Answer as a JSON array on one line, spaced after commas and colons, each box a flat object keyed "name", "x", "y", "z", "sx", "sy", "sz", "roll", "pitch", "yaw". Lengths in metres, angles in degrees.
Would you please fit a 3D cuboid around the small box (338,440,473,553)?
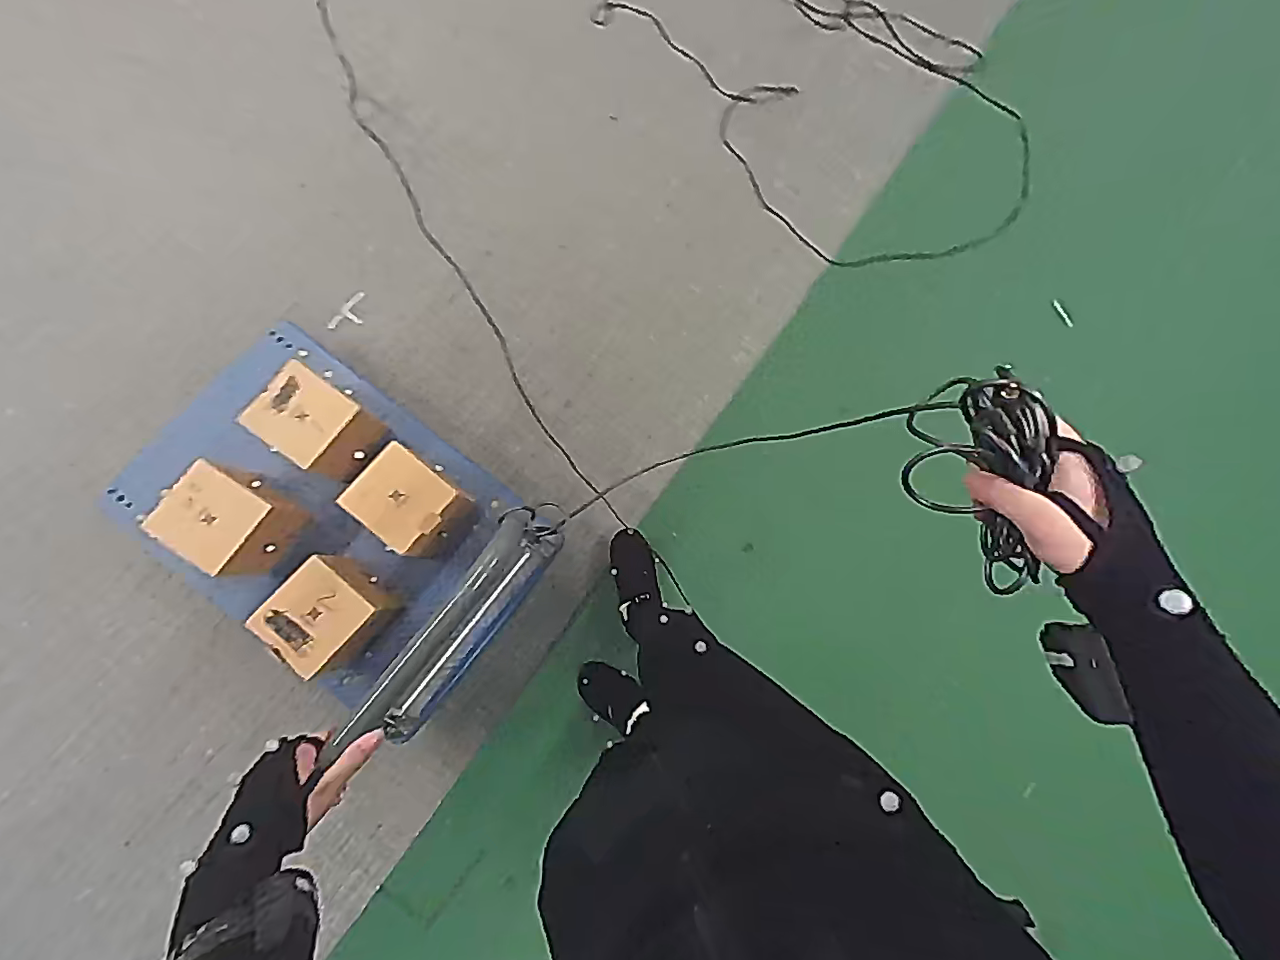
[{"name": "small box", "x": -0.489, "y": 0.045, "z": 1.155, "sx": 0.179, "sy": 0.176, "sz": 0.168, "roll": 39, "pitch": 80, "yaw": 1}]

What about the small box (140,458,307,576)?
[{"name": "small box", "x": -0.838, "y": 0.080, "z": 1.113, "sx": 0.179, "sy": 0.176, "sz": 0.168, "roll": 34, "pitch": 79, "yaw": 1}]

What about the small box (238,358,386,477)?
[{"name": "small box", "x": -0.690, "y": -0.124, "z": 1.160, "sx": 0.179, "sy": 0.176, "sz": 0.168, "roll": 37, "pitch": 80, "yaw": 0}]
